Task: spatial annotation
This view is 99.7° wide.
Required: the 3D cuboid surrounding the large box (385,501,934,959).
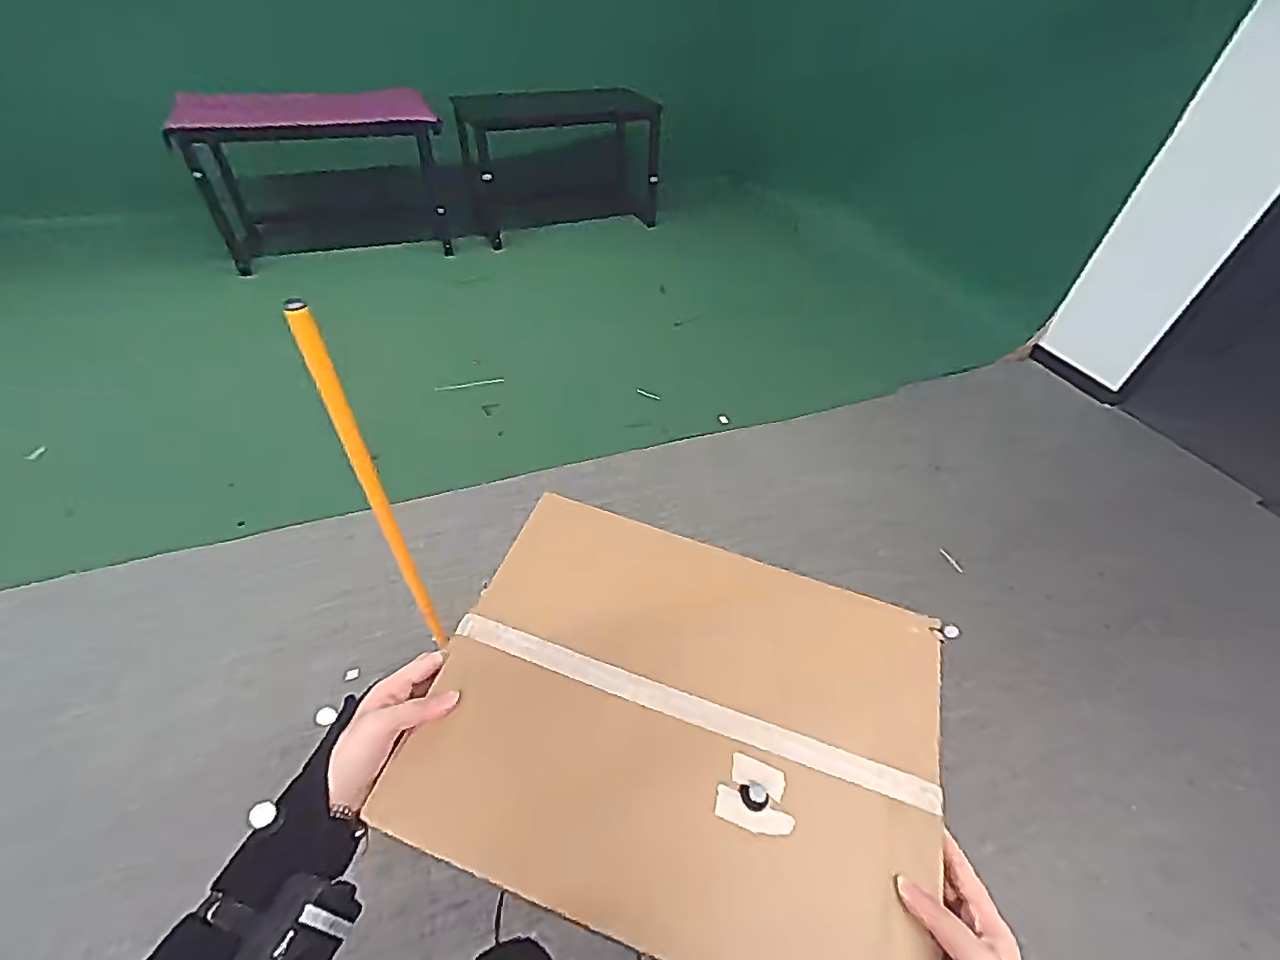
[{"bbox_3d":[0.032,0.280,0.575,0.408,0.320,0.320,18,54,9],"label":"large box"}]
